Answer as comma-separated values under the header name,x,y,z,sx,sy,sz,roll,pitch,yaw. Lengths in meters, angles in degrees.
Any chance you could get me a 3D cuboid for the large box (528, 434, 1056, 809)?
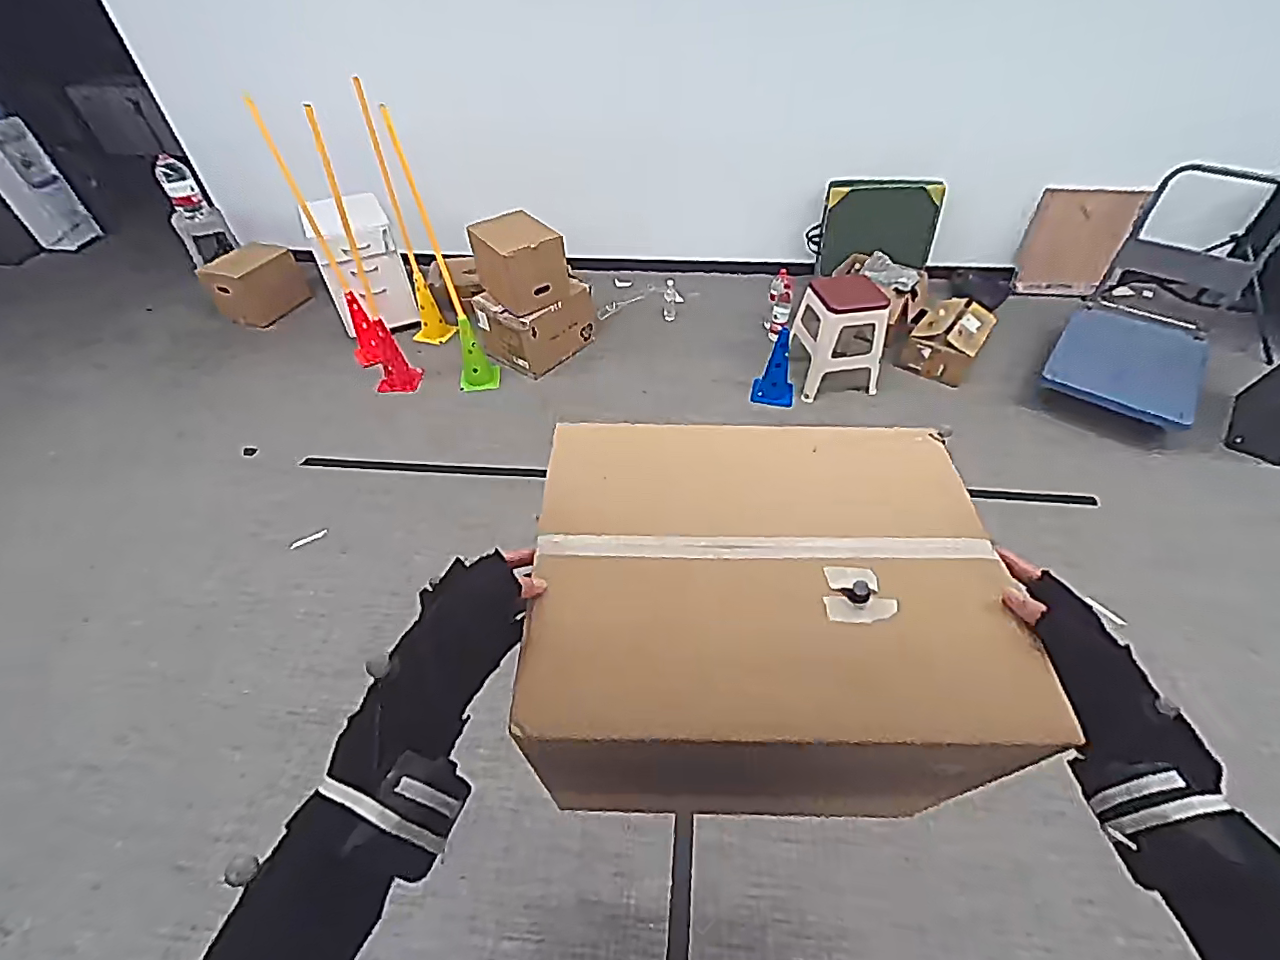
name,x,y,z,sx,sy,sz,roll,pitch,yaw
large box,0.109,0.162,0.606,0.408,0.320,0.320,1,51,-1
